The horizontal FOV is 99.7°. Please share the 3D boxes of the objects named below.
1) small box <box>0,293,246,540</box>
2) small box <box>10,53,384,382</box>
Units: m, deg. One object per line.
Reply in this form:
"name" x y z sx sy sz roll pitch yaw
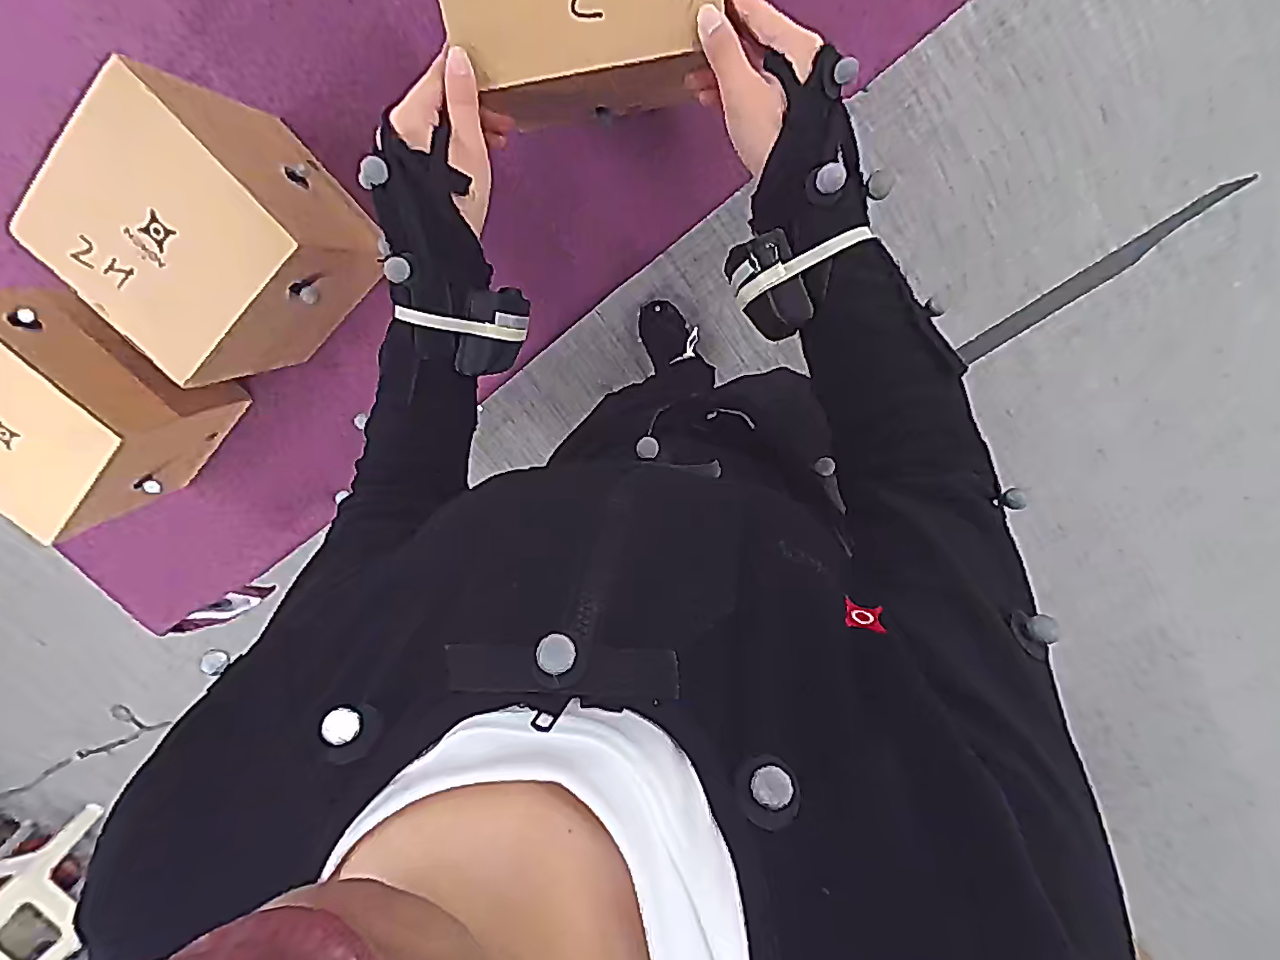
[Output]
"small box" -0.572 -0.077 0.562 0.168 0.176 0.179 -41 102 17
"small box" -0.369 -0.218 0.491 0.179 0.176 0.168 -39 102 16
